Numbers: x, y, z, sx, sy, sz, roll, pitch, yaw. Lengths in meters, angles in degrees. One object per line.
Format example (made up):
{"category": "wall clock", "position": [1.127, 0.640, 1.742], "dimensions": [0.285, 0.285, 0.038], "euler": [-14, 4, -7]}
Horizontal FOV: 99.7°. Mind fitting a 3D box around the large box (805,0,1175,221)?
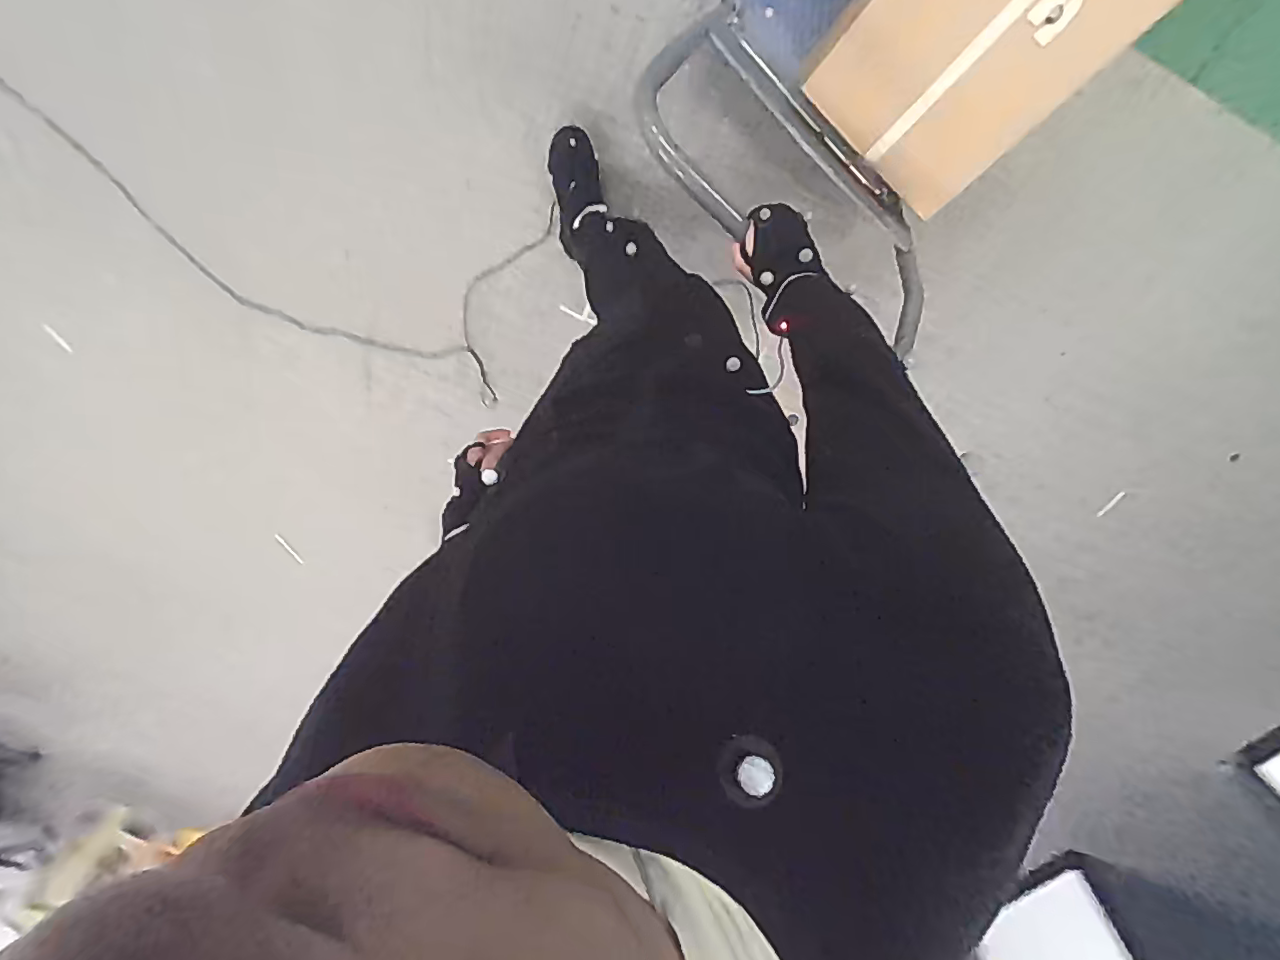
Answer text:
{"category": "large box", "position": [0.529, -0.733, 0.894], "dimensions": [0.320, 0.320, 0.408], "euler": [35, 131, -17]}
